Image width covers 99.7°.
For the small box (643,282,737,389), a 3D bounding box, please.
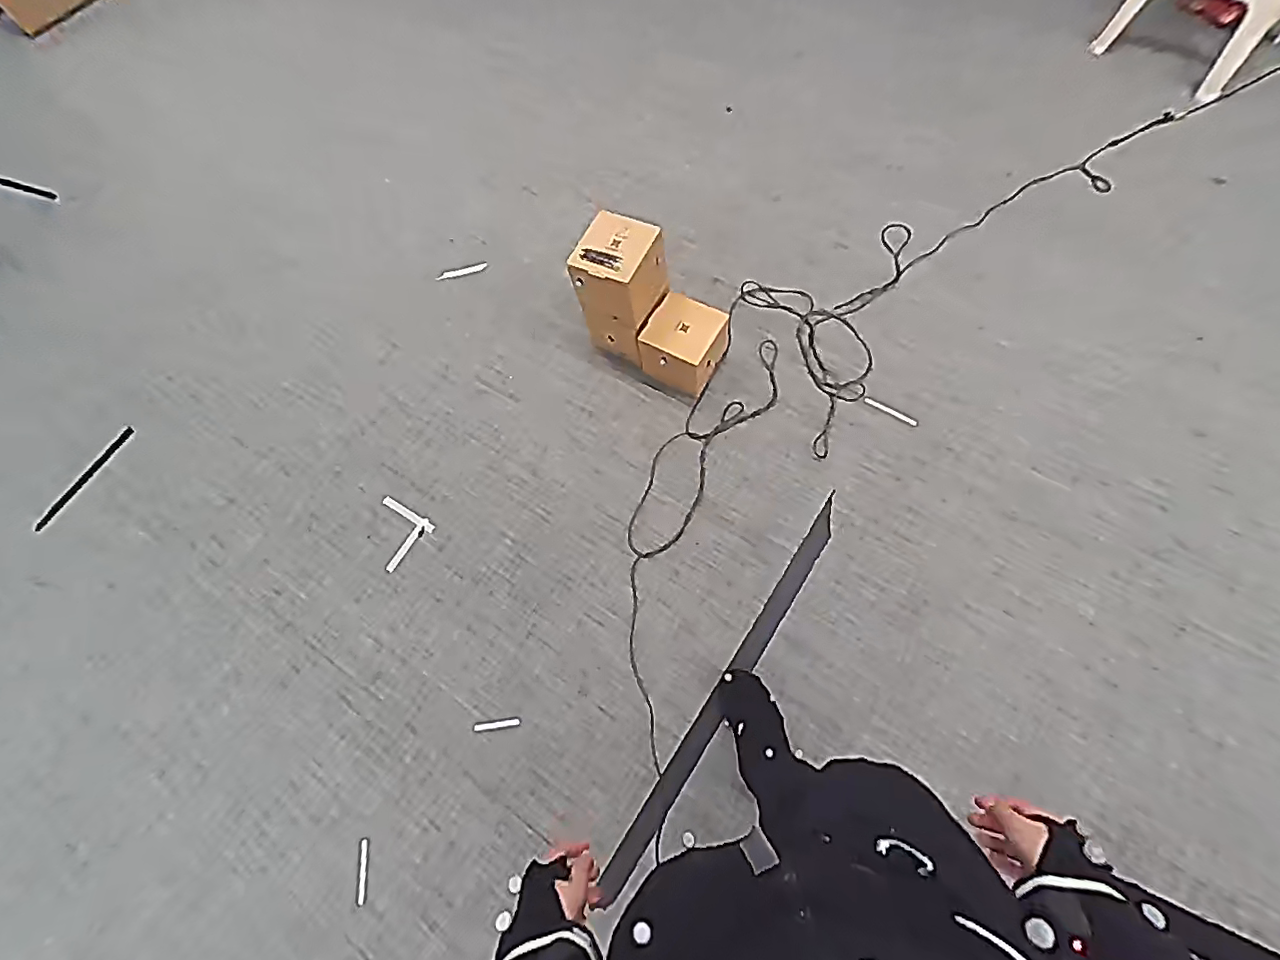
[{"bbox_3d":[0.124,-0.357,1.344,0.179,0.176,0.168,-34,83,5],"label":"small box"}]
